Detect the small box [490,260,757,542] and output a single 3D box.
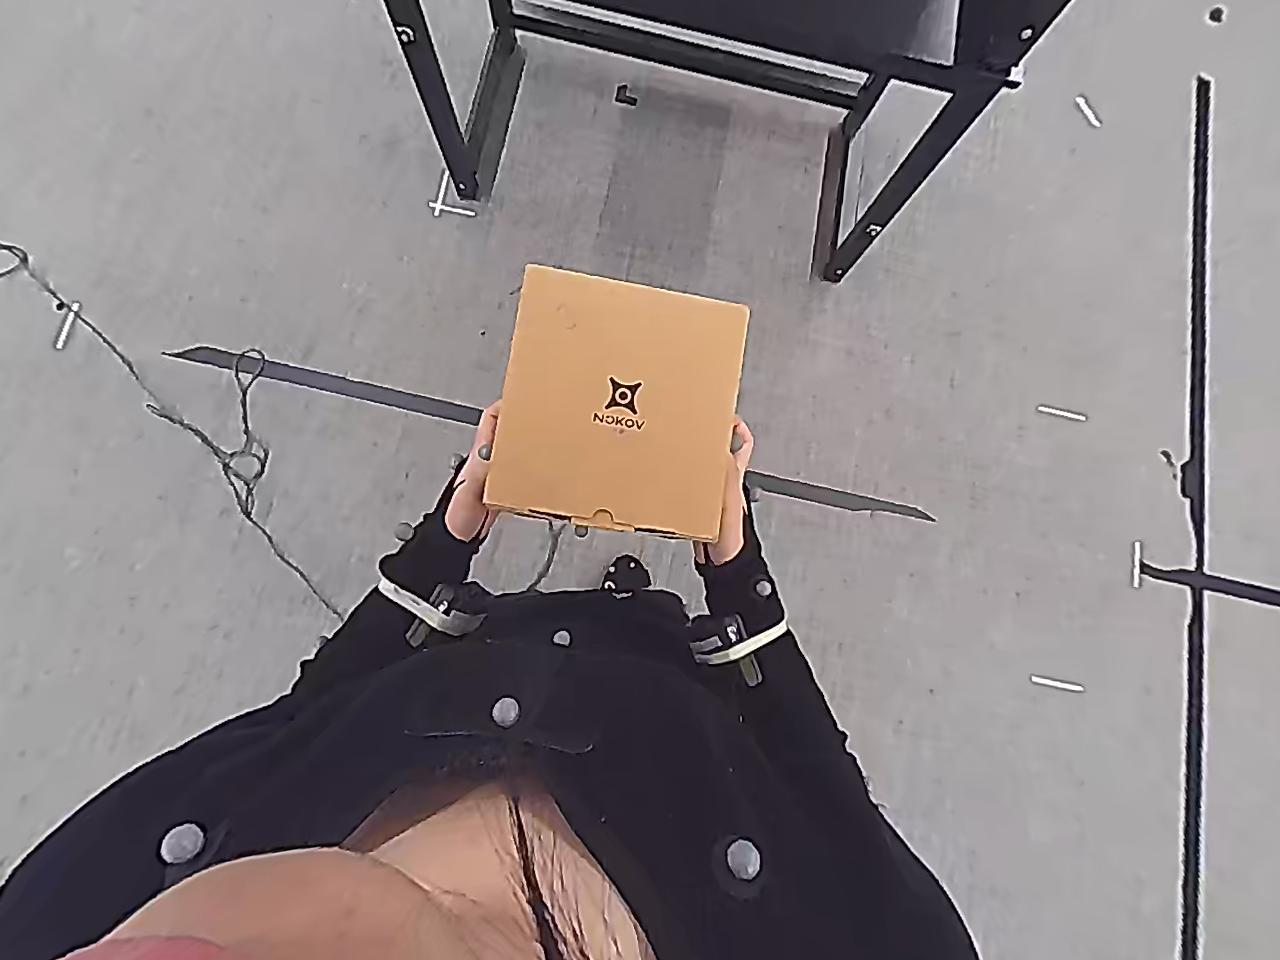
[{"bbox_3d":[-0.016,-0.049,0.452,0.168,0.176,0.179,9,85,-5],"label":"small box"}]
